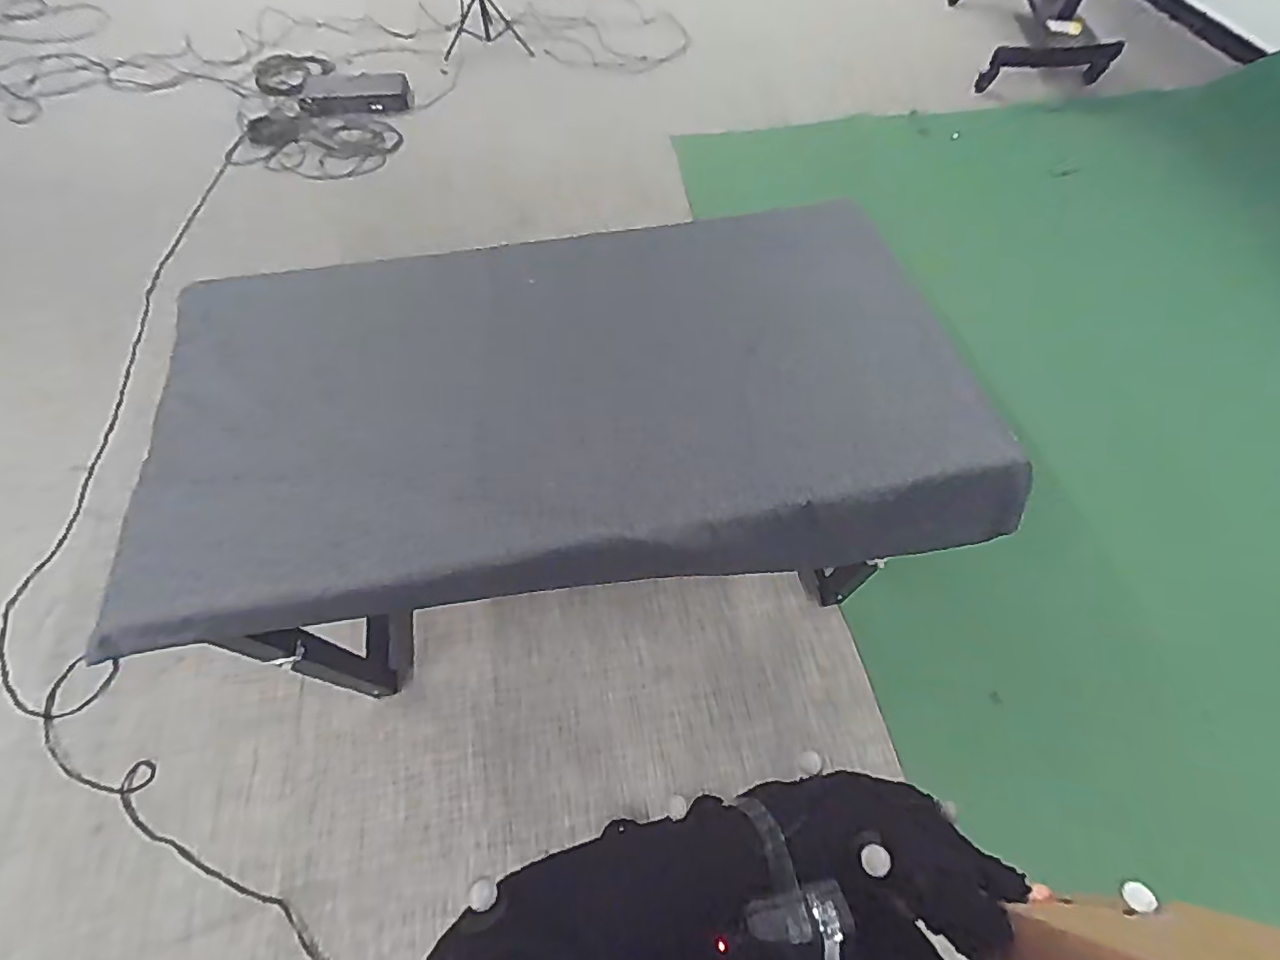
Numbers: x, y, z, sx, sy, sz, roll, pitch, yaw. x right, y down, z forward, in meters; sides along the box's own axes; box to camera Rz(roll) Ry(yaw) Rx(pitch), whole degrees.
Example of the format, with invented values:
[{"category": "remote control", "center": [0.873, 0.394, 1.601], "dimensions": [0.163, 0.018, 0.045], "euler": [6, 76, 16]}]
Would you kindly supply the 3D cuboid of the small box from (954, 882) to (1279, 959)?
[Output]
[{"category": "small box", "center": [0.297, 0.337, 0.277], "dimensions": [0.168, 0.176, 0.179], "euler": [6, 62, 0]}]
